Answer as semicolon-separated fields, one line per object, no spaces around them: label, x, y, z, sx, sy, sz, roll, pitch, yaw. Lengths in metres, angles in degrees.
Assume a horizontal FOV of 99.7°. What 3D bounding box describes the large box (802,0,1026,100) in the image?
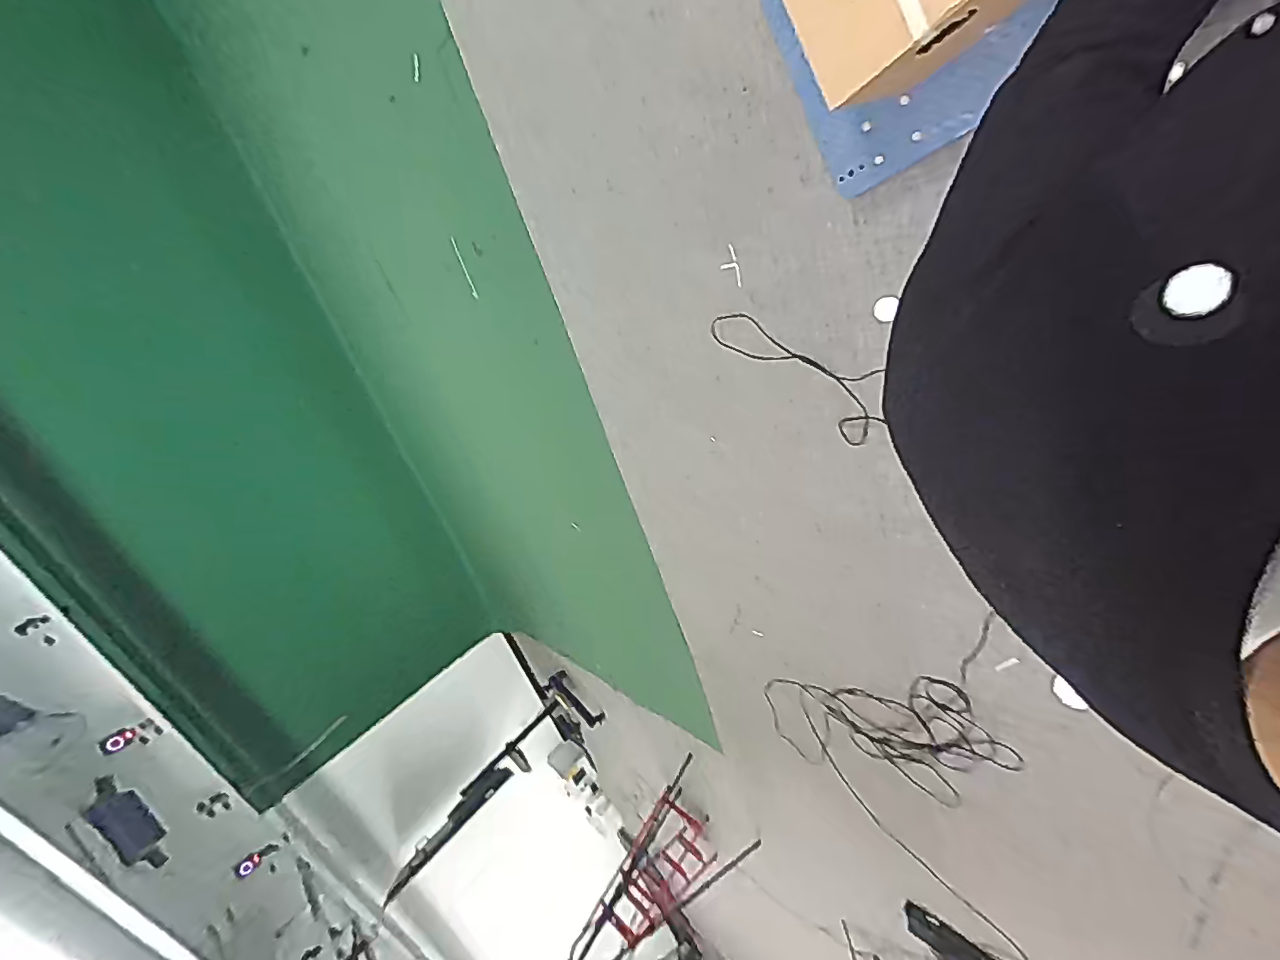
large box;0.419;-0.875;0.794;0.320;0.320;0.408;-15;109;55
